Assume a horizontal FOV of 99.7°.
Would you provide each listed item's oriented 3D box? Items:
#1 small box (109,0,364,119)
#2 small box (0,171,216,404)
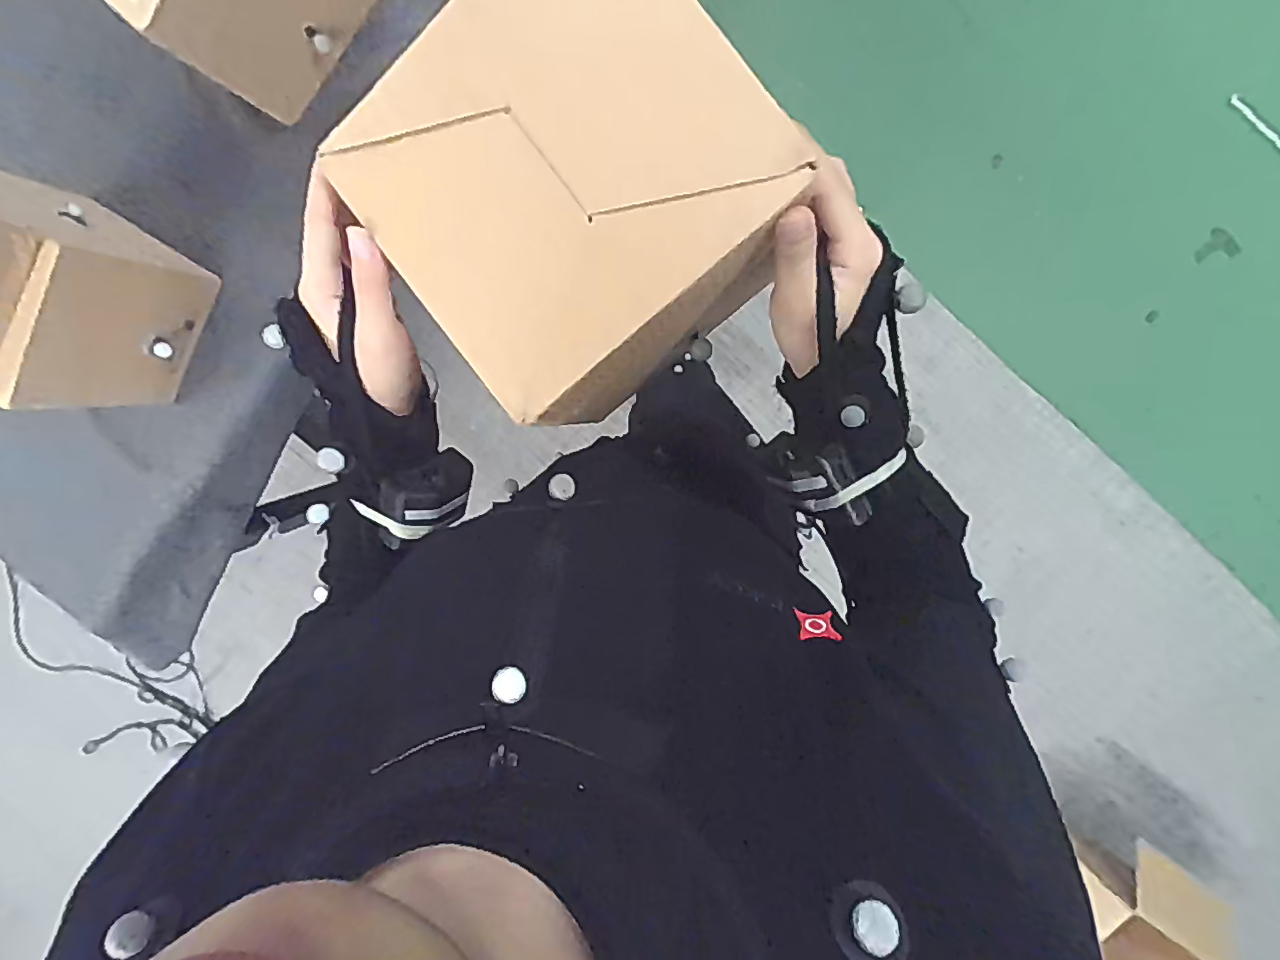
[{"bbox_3d":[-0.380,-0.476,0.473,0.168,0.176,0.179,42,101,-4],"label":"small box"},{"bbox_3d":[-0.595,-0.191,0.545,0.179,0.176,0.168,31,102,-3],"label":"small box"}]
